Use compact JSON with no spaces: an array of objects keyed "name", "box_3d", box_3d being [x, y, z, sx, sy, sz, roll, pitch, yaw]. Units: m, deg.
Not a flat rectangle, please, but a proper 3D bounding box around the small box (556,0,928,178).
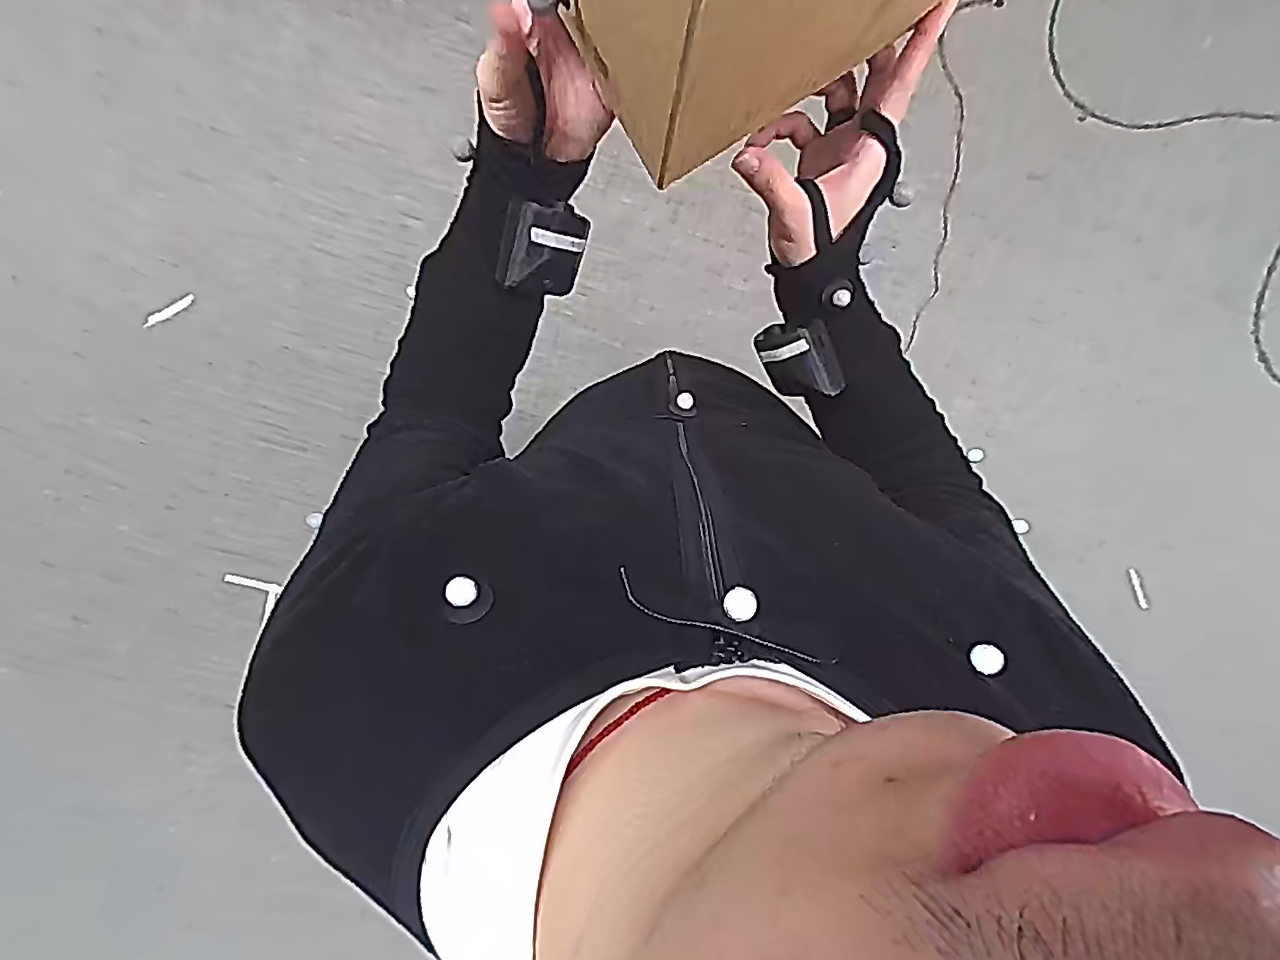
[{"name":"small box","box_3d":[0.048,-0.269,0.221,0.179,0.176,0.168,-32,99,4]}]
